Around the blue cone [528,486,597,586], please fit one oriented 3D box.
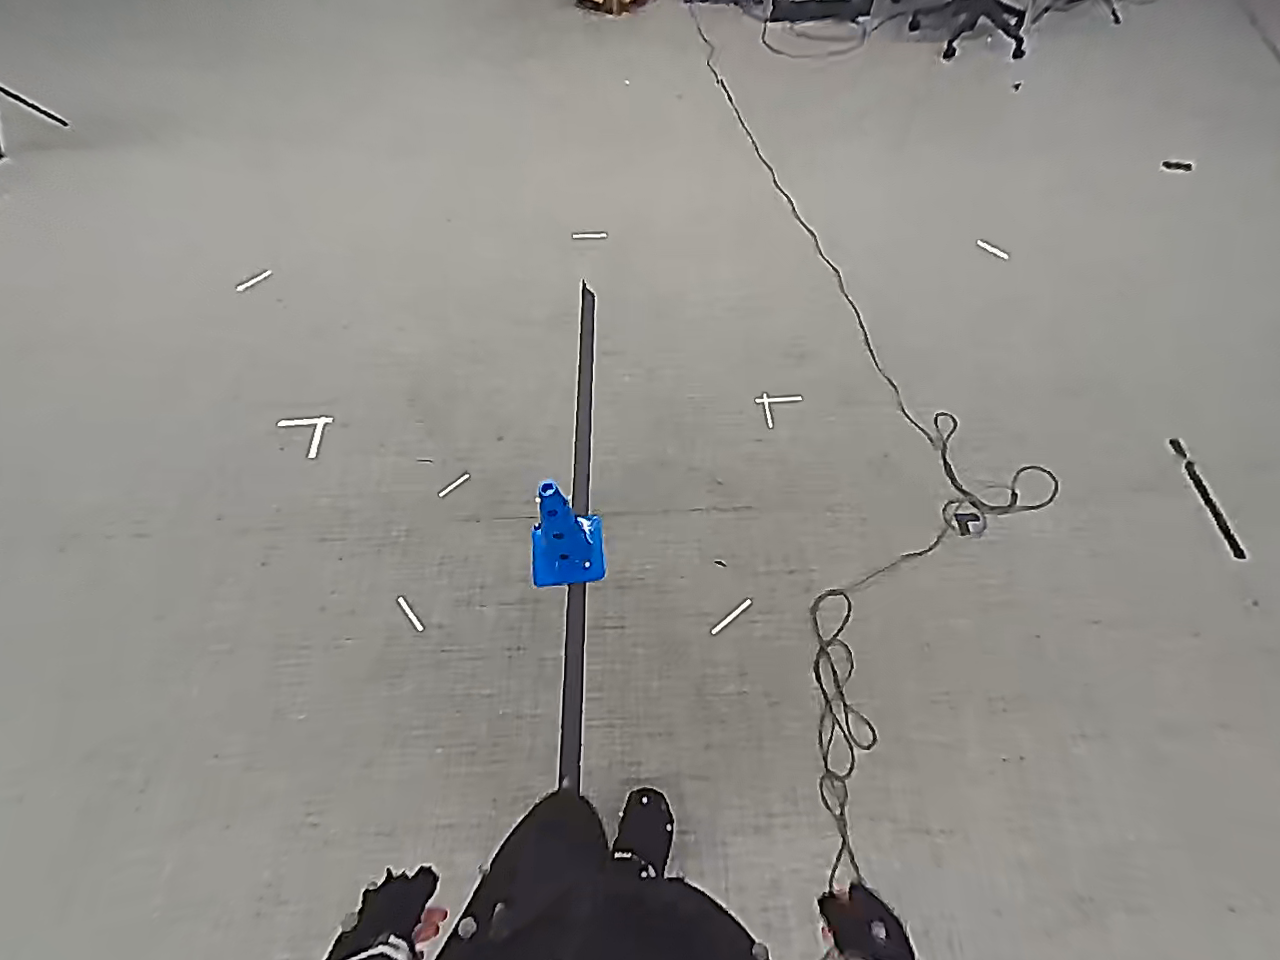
[{"bbox_3d":[-0.223,0.119,1.391,0.192,0.380,0.193,-5,59,-1],"label":"blue cone"}]
